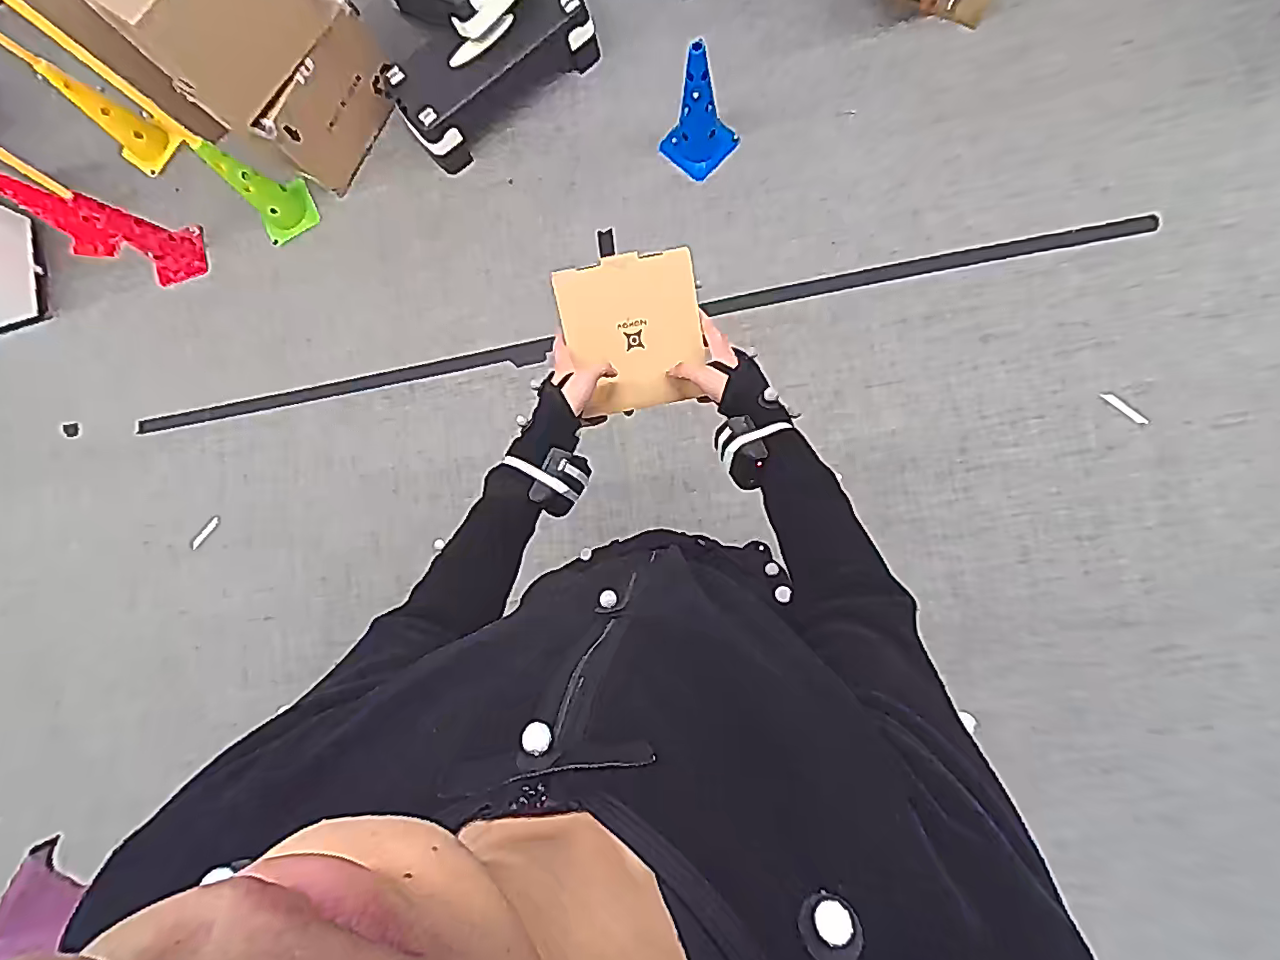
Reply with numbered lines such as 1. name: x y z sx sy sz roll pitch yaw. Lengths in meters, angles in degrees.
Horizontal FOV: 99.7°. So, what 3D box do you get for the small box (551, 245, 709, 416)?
1. small box: -0.010 -0.193 0.716 0.168 0.176 0.179 -11 103 0
